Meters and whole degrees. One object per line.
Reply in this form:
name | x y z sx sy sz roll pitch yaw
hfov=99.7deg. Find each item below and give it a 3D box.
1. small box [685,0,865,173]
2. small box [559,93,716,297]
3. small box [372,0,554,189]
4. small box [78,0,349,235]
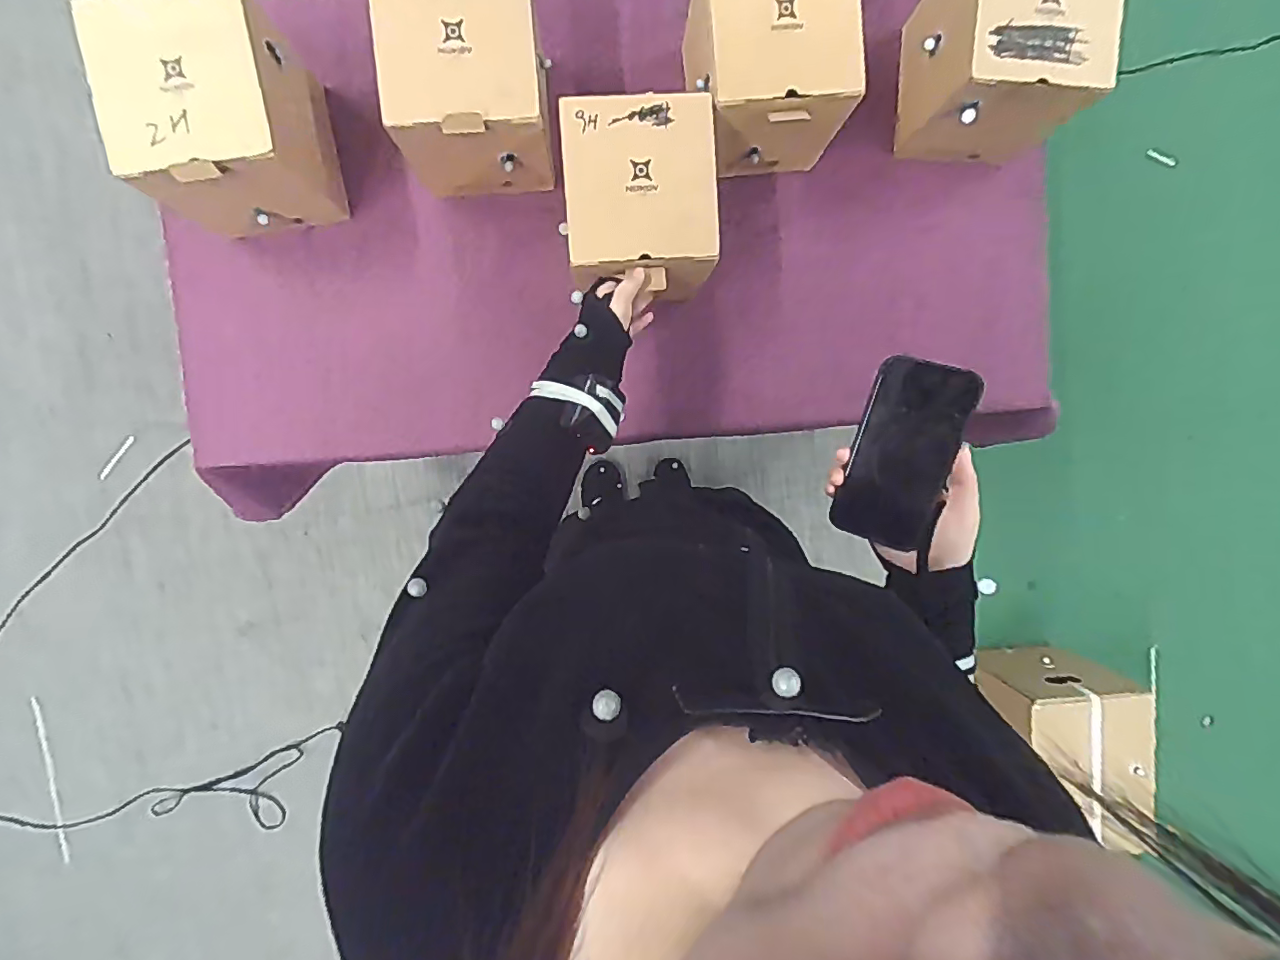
small box | 0.151 -0.504 0.654 0.168 0.176 0.179 -6 96 -2
small box | -0.004 -0.329 0.659 0.168 0.176 0.179 -4 95 -3
small box | -0.196 -0.465 0.640 0.168 0.176 0.179 -4 94 -4
small box | -0.473 -0.413 0.629 0.168 0.176 0.179 -10 95 -2
